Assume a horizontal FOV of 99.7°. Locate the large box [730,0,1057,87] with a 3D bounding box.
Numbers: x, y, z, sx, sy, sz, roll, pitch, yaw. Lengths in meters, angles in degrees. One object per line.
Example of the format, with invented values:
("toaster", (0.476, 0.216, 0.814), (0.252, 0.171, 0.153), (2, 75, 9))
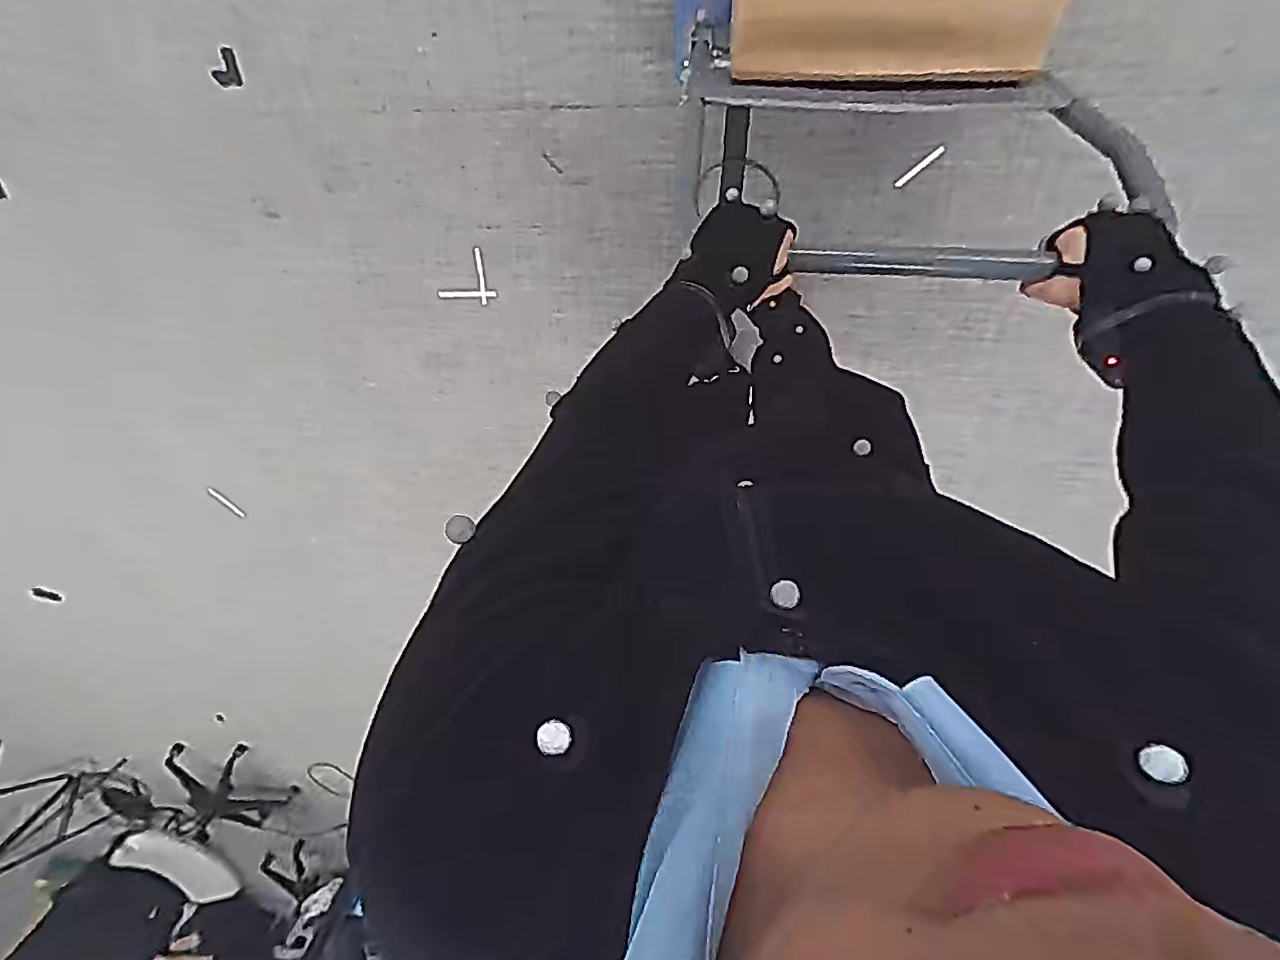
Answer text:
("large box", (0.337, -0.767, 0.747), (0.408, 0.320, 0.320), (3, 136, 5))
